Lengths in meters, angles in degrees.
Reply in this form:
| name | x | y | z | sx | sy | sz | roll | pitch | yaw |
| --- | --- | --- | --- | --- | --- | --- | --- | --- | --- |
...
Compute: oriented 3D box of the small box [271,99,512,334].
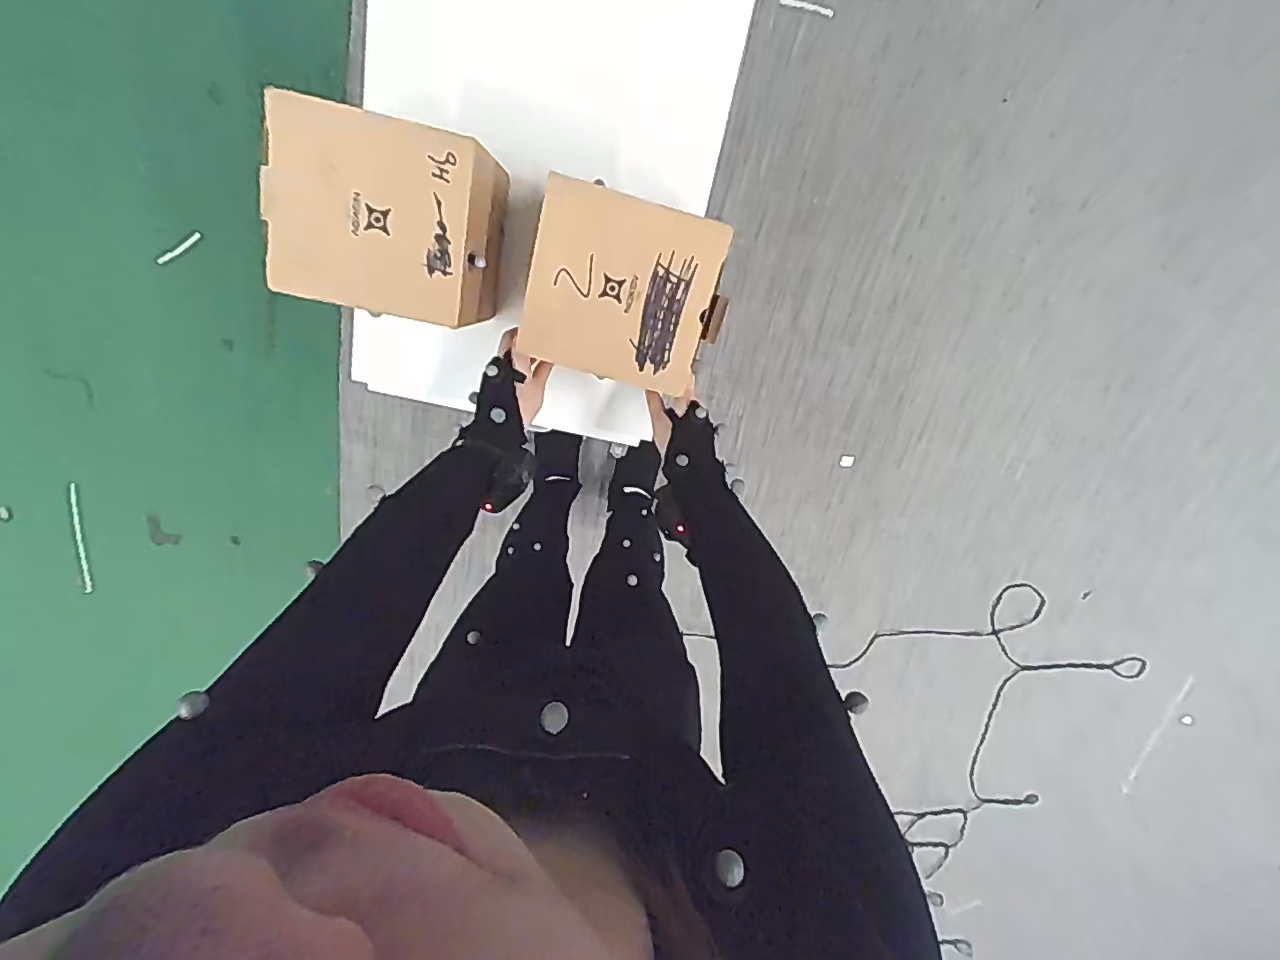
| name | x | y | z | sx | sy | sz | roll | pitch | yaw |
| --- | --- | --- | --- | --- | --- | --- | --- | --- | --- |
| small box | -0.245 | -0.257 | 0.564 | 0.179 | 0.176 | 0.168 | 11 | 109 | -6 |
